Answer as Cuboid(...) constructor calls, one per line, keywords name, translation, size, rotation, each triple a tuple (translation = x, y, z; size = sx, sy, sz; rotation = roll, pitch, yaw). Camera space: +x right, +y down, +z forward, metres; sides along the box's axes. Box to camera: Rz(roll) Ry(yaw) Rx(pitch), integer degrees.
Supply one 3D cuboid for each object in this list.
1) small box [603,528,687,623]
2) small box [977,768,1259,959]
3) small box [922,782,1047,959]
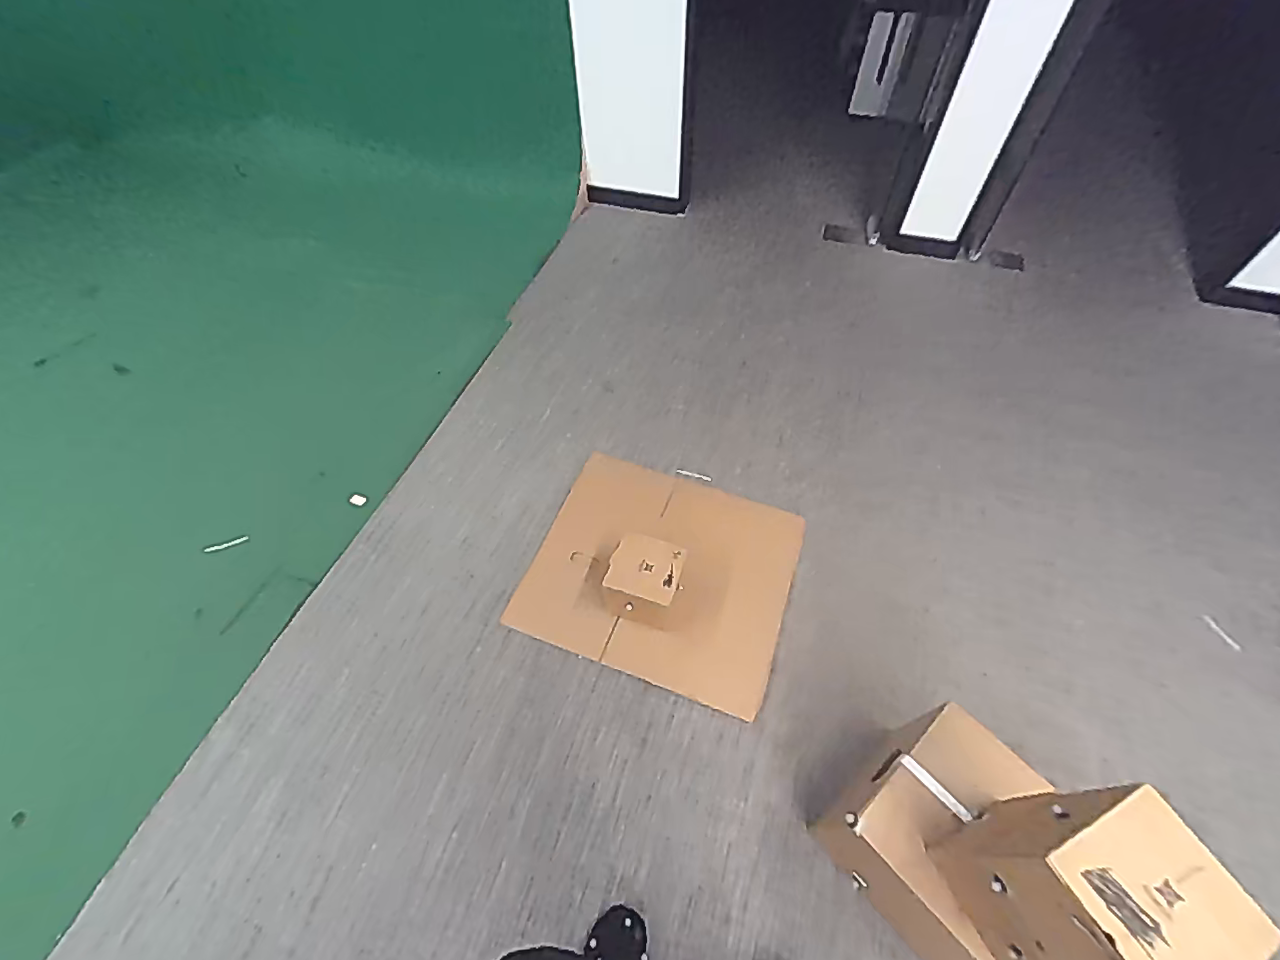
Cuboid(name="small box", translation=(0.018, 0.252, 1.406), size=(0.179, 0.176, 0.168), rotation=(12, 55, 12))
Cuboid(name="small box", translation=(0.561, 0.492, 0.670), size=(0.179, 0.176, 0.168), rotation=(-25, 59, -15))
Cuboid(name="small box", translation=(0.569, 0.585, 0.806), size=(0.168, 0.176, 0.179), rotation=(-22, 57, -14))
